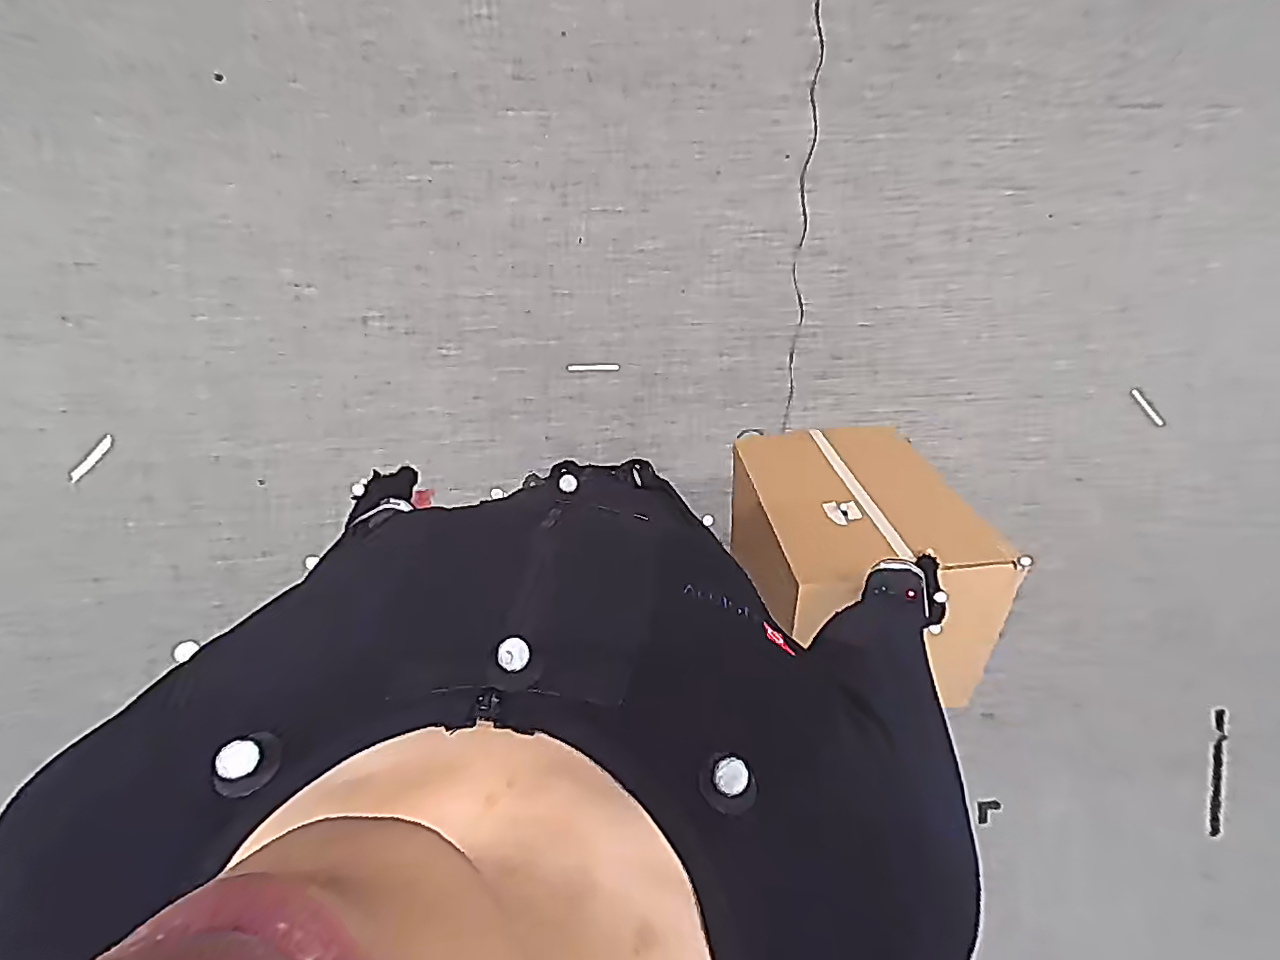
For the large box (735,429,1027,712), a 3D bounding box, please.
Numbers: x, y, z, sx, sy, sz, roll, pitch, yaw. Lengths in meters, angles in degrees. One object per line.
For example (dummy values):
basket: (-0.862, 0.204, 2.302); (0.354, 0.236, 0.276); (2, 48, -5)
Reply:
large box: (0.371, 0.143, 0.980); (0.320, 0.408, 0.320); (-5, 124, -1)
